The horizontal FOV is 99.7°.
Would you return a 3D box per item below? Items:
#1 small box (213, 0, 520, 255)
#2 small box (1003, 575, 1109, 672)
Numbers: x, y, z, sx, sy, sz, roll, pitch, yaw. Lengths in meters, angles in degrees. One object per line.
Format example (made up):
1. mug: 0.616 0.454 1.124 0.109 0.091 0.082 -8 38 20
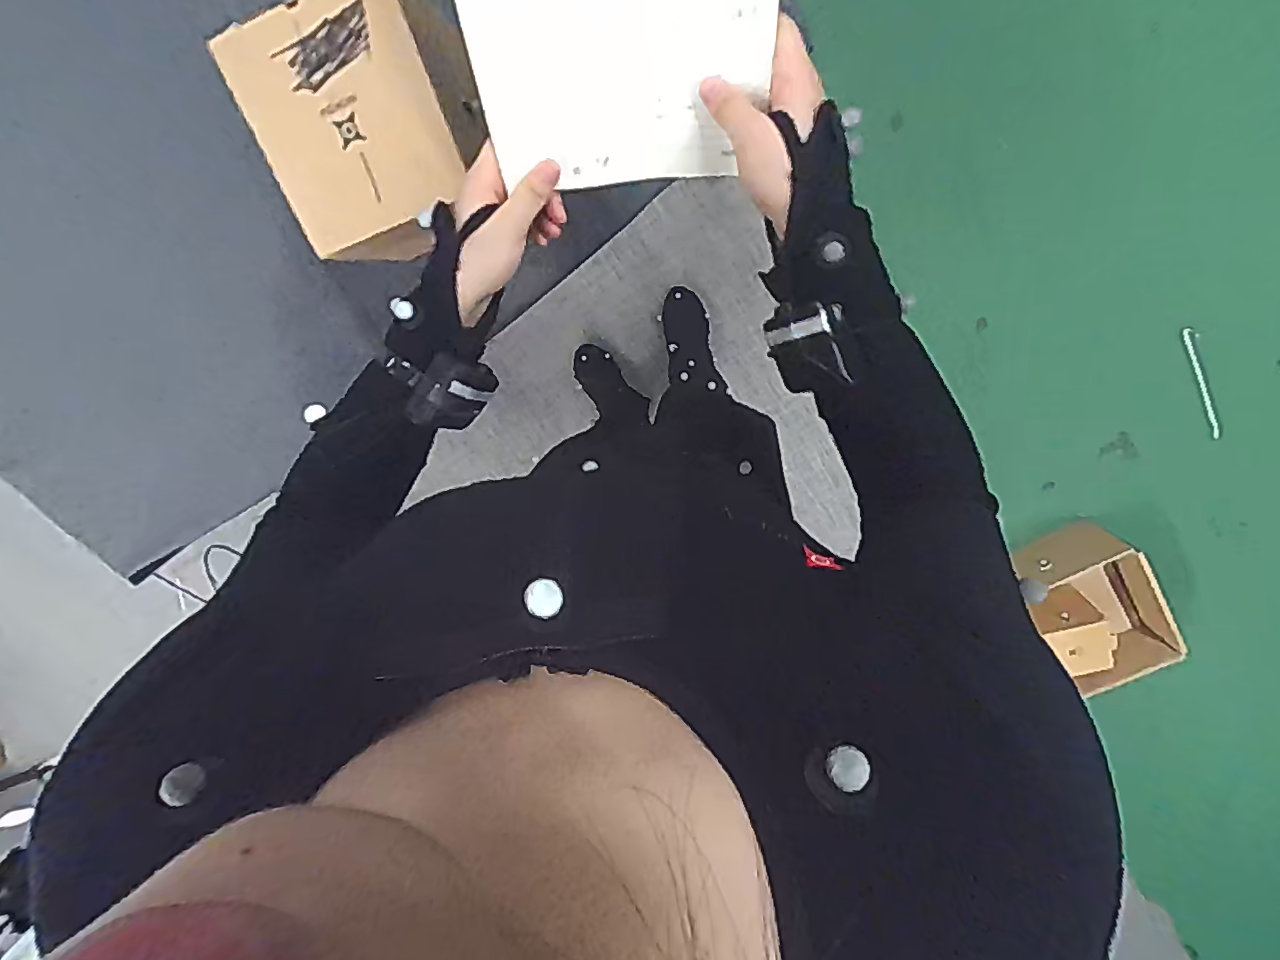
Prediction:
1. small box: -0.241 -0.333 0.528 0.168 0.176 0.179 -16 111 12
2. small box: 1.127 0.388 1.479 0.179 0.176 0.168 -20 111 13
